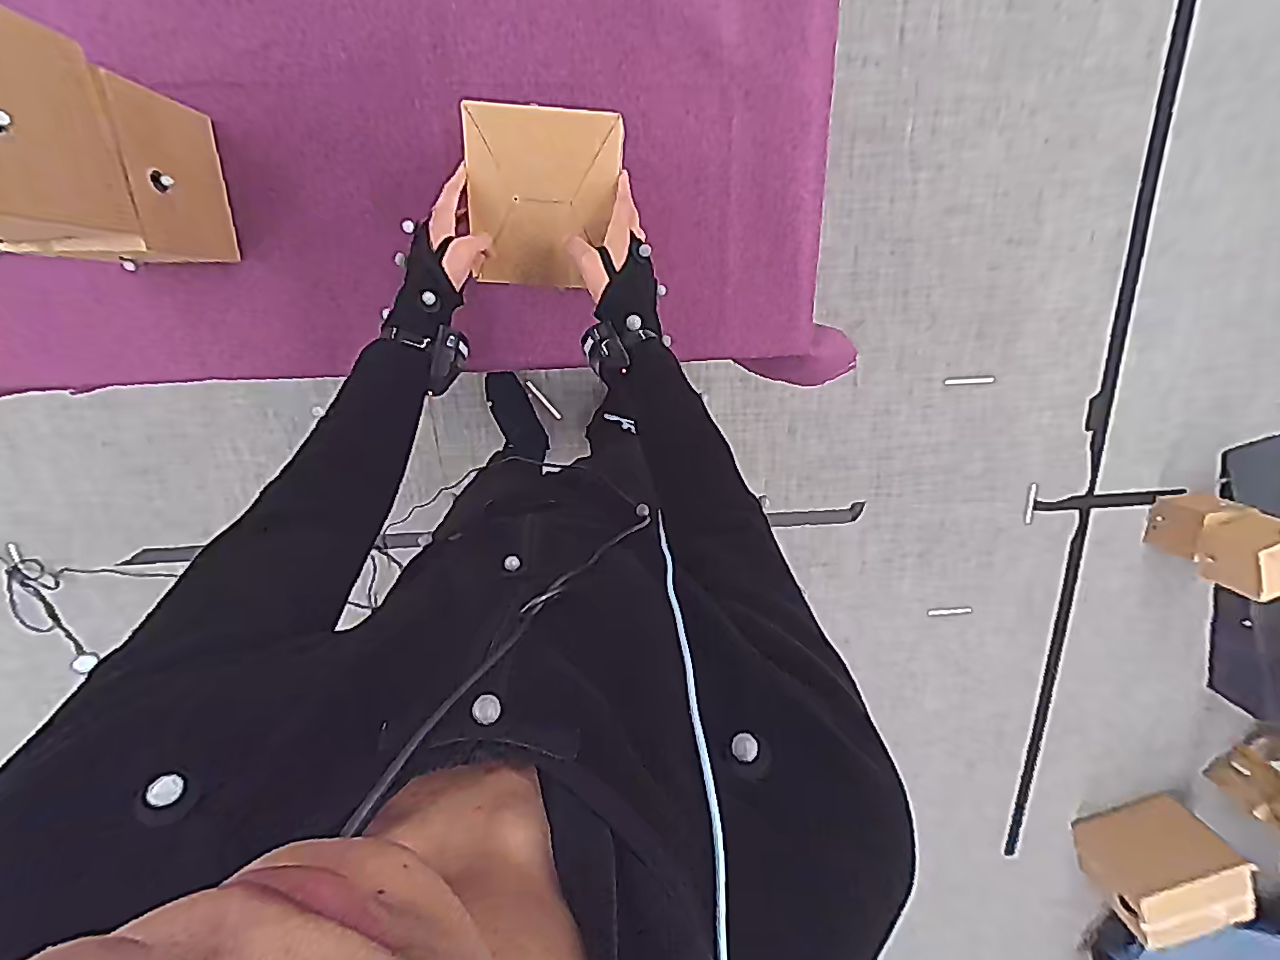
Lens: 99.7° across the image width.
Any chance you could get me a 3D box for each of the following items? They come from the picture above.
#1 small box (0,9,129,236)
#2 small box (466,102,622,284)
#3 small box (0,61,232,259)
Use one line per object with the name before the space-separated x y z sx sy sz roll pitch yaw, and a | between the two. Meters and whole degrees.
small box | -0.615 -0.316 0.472 0.168 0.176 0.179 -5 108 -3
small box | -0.108 -0.344 0.661 0.168 0.176 0.179 3 114 -3
small box | -0.623 -0.357 0.631 0.168 0.176 0.179 -1 108 -5
